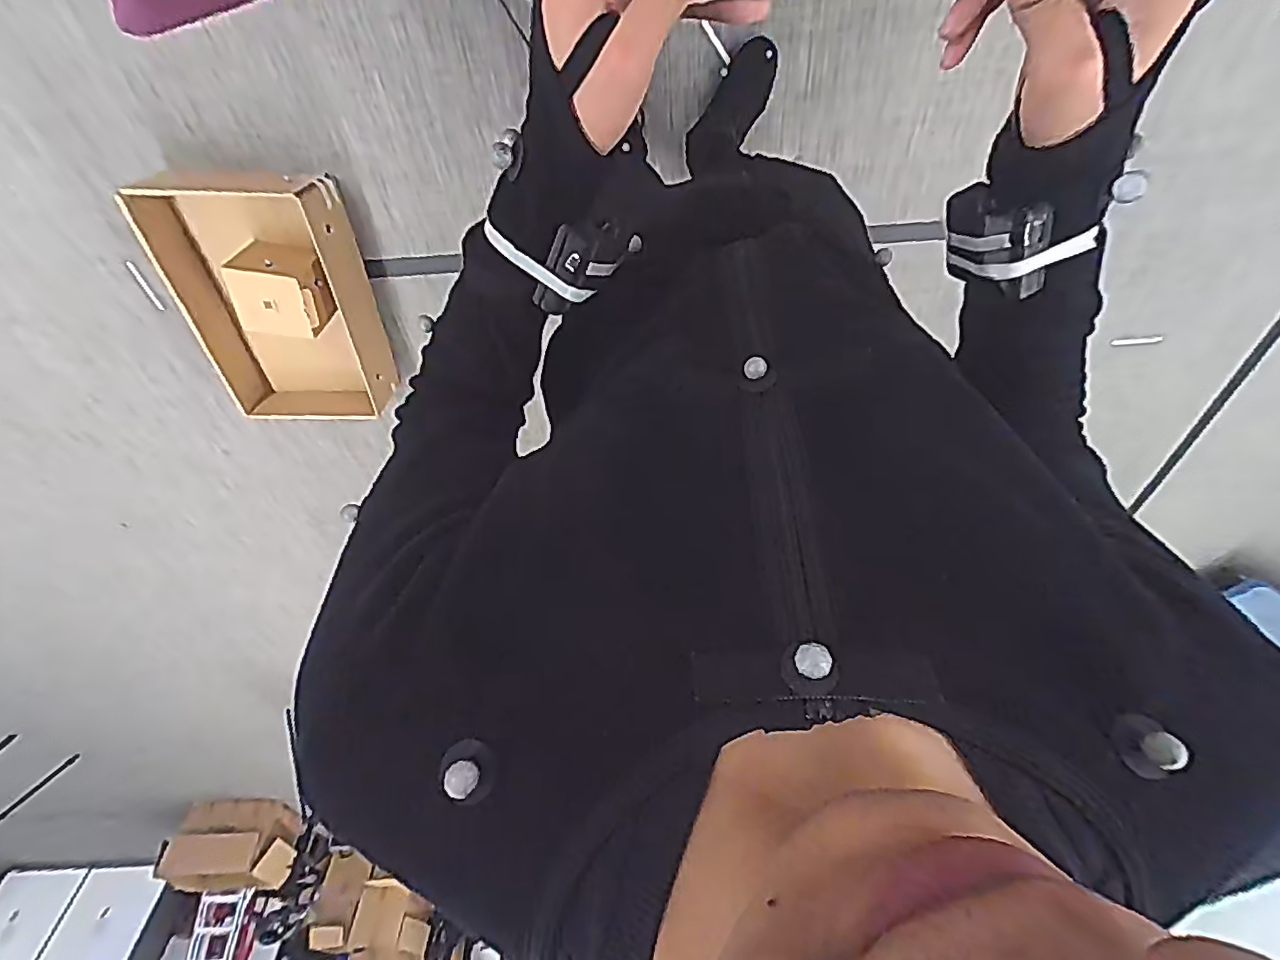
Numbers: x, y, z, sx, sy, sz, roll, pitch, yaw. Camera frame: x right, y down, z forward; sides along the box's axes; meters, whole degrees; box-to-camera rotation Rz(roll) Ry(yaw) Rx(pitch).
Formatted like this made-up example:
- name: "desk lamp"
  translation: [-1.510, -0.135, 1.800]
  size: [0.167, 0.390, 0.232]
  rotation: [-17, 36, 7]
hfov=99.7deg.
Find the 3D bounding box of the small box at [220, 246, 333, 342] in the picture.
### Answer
- name: "small box"
  translation: [-0.906, -0.476, 1.375]
  size: [0.179, 0.176, 0.168]
  rotation: [6, 133, -8]
